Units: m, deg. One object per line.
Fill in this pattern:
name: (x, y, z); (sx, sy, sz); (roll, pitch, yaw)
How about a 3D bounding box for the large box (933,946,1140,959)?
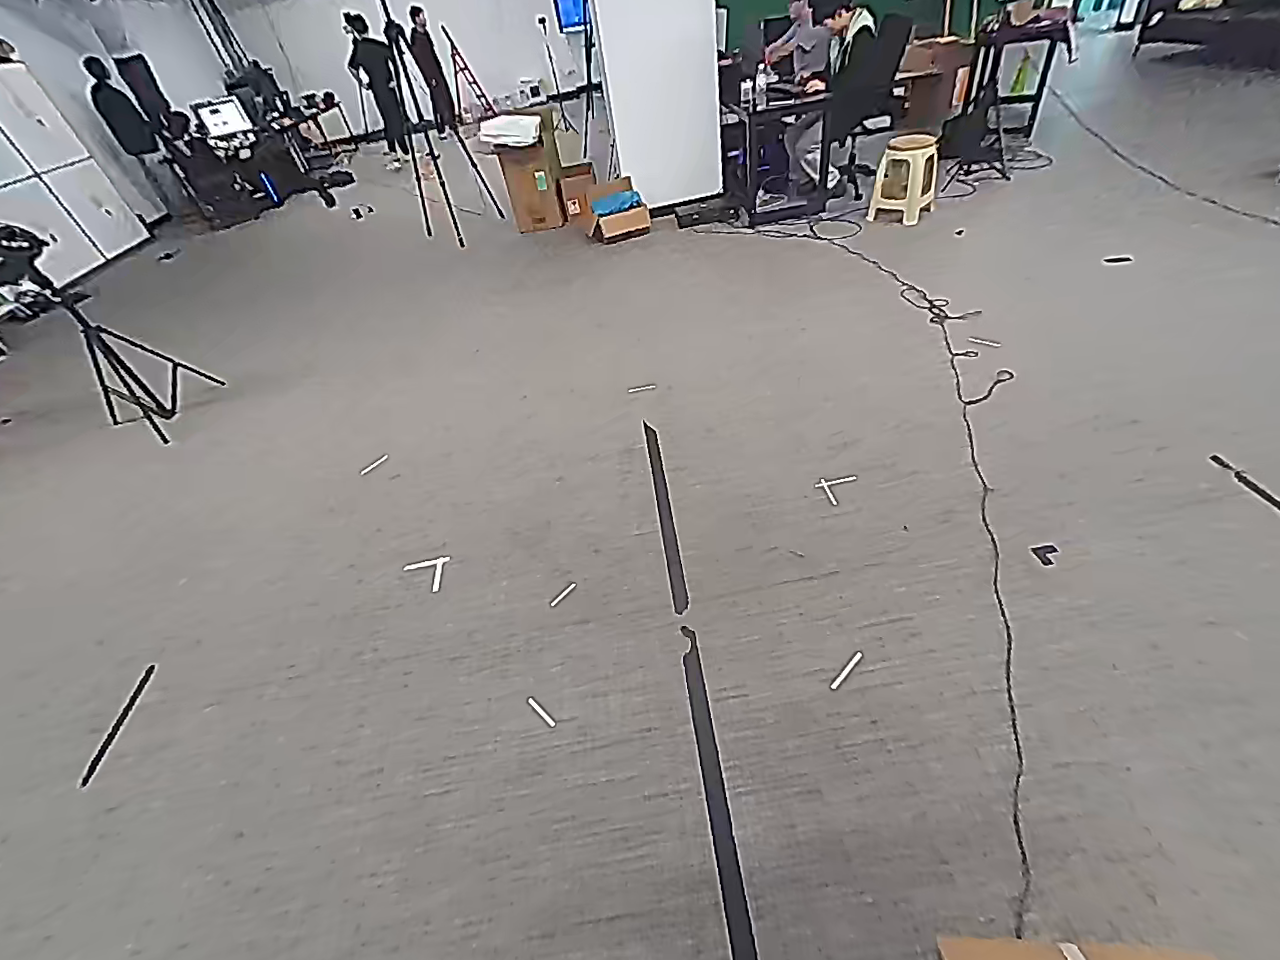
large box: (0.505, 0.740, 0.482); (0.320, 0.408, 0.320); (-8, 86, 13)
